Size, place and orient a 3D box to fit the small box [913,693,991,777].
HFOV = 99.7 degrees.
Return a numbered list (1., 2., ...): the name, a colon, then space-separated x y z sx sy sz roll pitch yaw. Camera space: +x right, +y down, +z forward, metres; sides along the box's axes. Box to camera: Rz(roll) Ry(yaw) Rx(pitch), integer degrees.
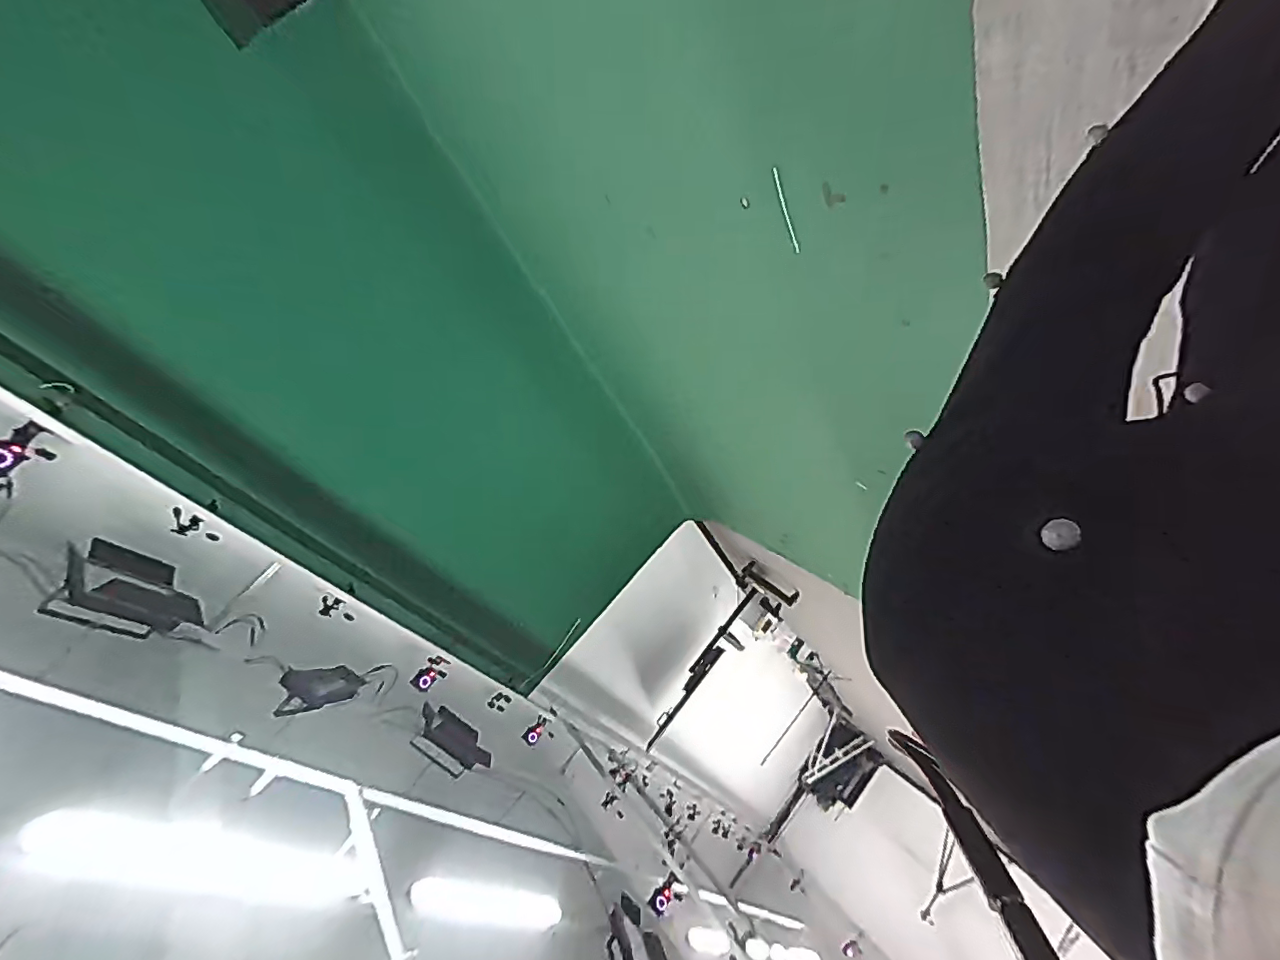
1. small box: 1.031 0.836 1.783 0.168 0.176 0.179 27 163 46
